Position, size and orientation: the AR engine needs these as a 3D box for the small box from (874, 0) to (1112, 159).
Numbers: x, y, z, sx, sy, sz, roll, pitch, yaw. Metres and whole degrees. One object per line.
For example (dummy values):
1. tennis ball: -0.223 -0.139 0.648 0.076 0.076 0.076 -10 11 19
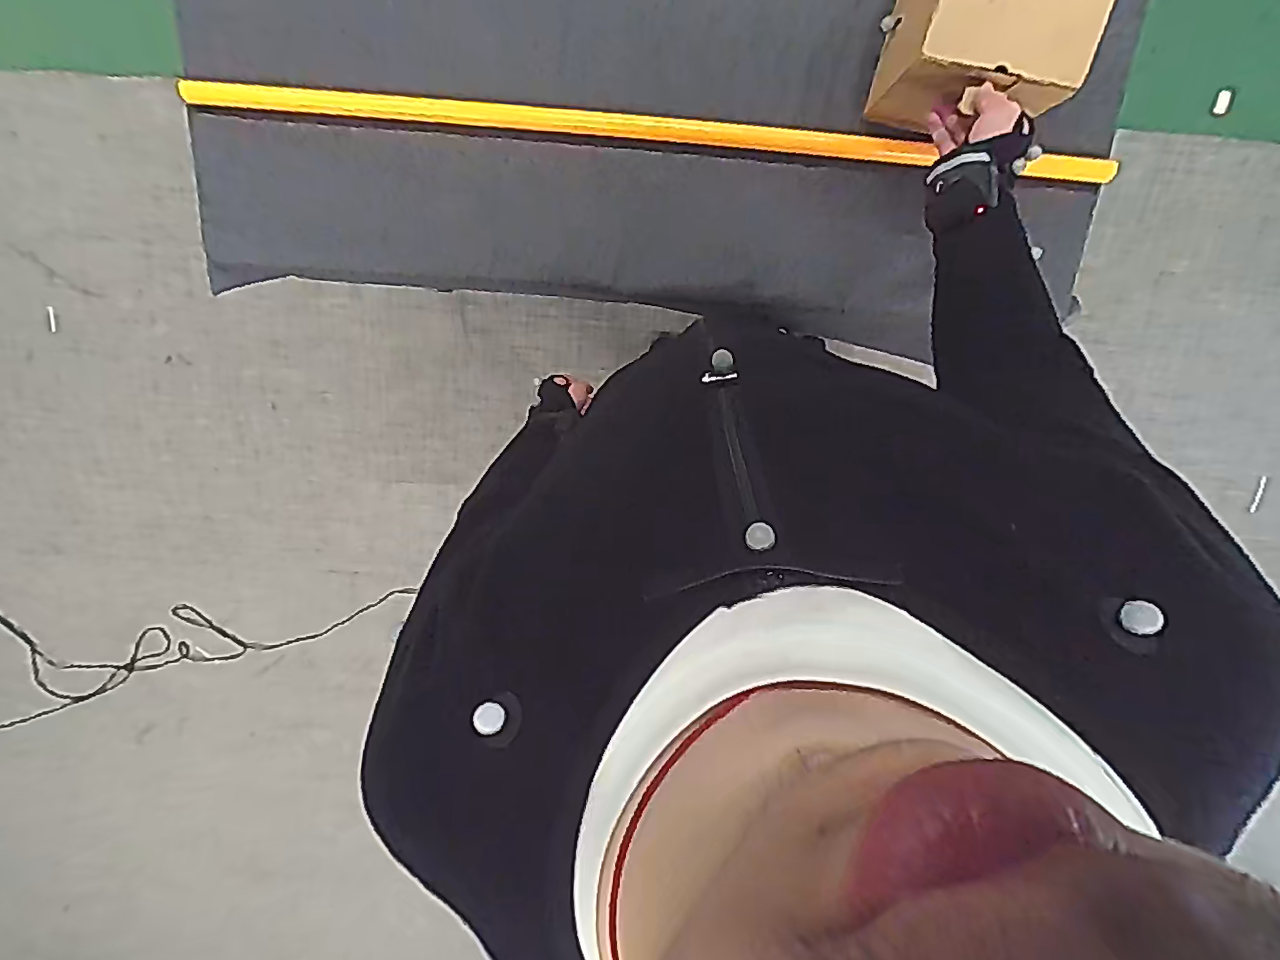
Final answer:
1. small box: 0.388 -0.493 0.613 0.168 0.176 0.179 11 104 2
